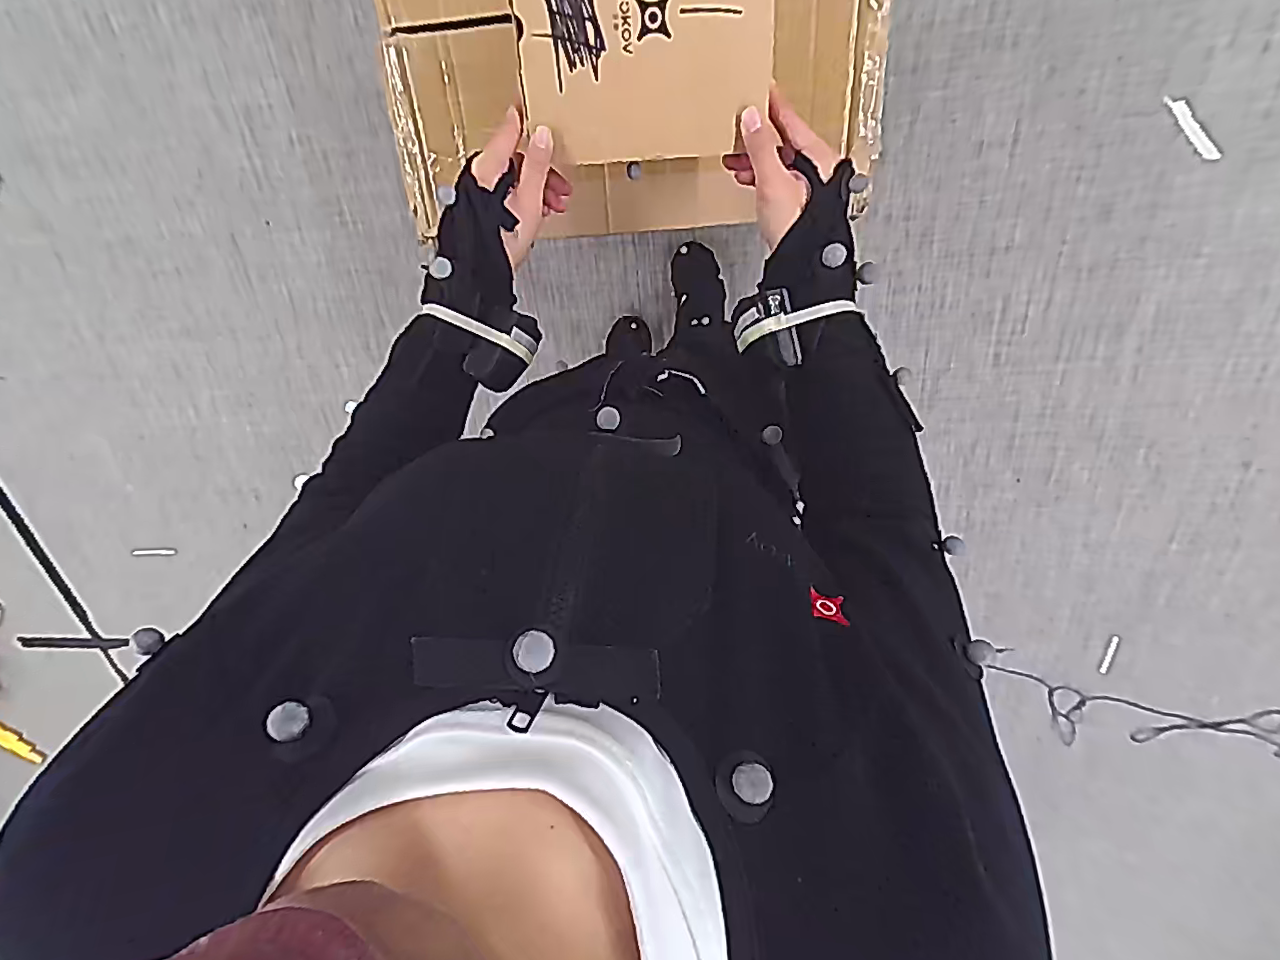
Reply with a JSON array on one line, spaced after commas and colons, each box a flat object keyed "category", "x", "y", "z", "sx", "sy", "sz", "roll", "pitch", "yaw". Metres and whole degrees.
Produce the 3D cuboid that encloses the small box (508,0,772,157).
[{"category": "small box", "x": 0.004, "y": -0.351, "z": 0.422, "sx": 0.179, "sy": 0.176, "sz": 0.168, "roll": -1, "pitch": 122, "yaw": 4}]
